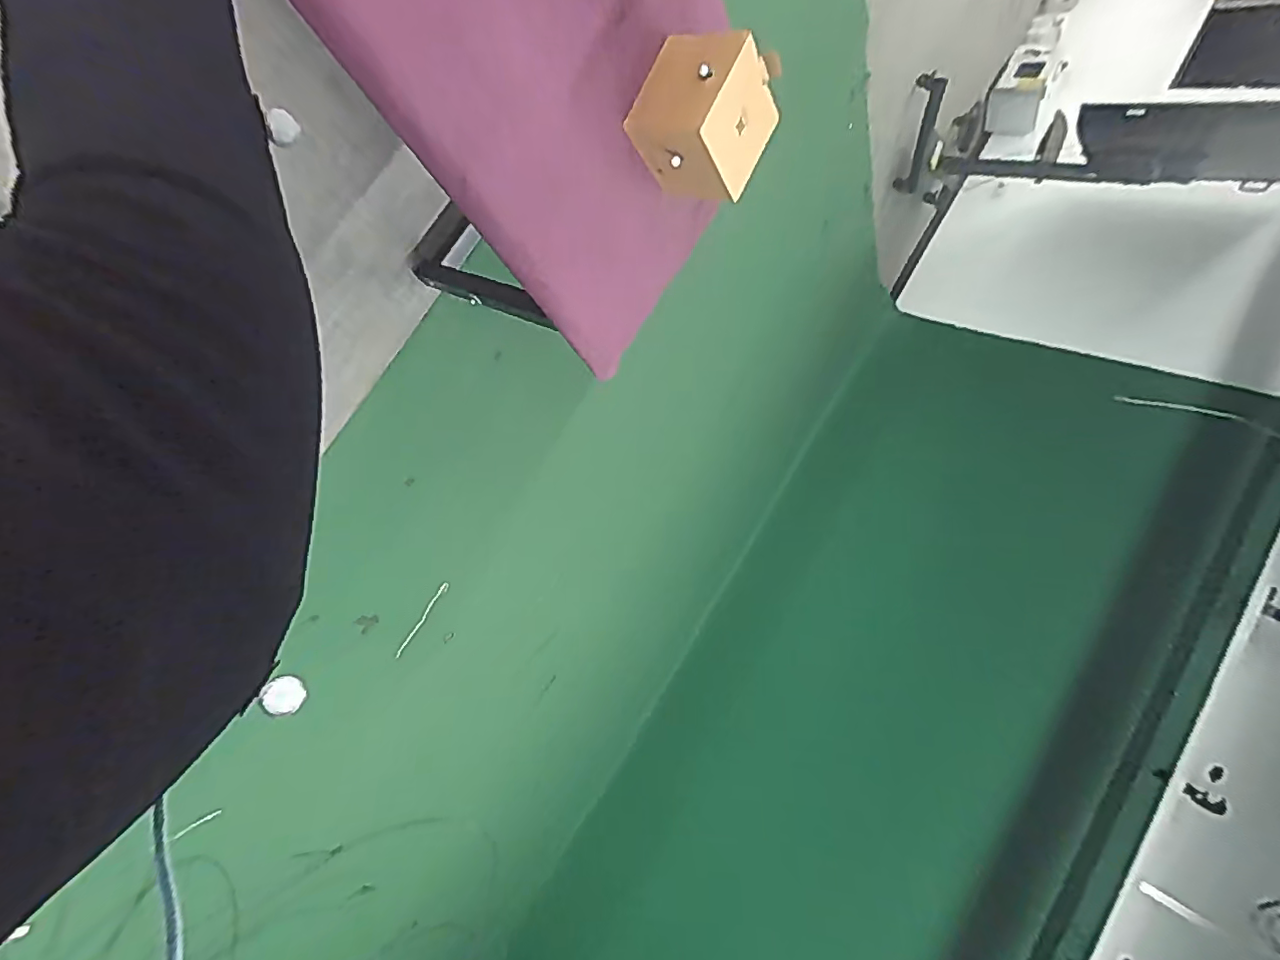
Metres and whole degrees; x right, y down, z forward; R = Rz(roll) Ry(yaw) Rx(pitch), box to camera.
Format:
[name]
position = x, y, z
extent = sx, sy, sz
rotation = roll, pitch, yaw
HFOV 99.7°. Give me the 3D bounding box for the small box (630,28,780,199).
[small box]
position = 0.107, -0.620, 0.930
extent = 0.168, 0.176, 0.179
rotation = 27, 90, -57
